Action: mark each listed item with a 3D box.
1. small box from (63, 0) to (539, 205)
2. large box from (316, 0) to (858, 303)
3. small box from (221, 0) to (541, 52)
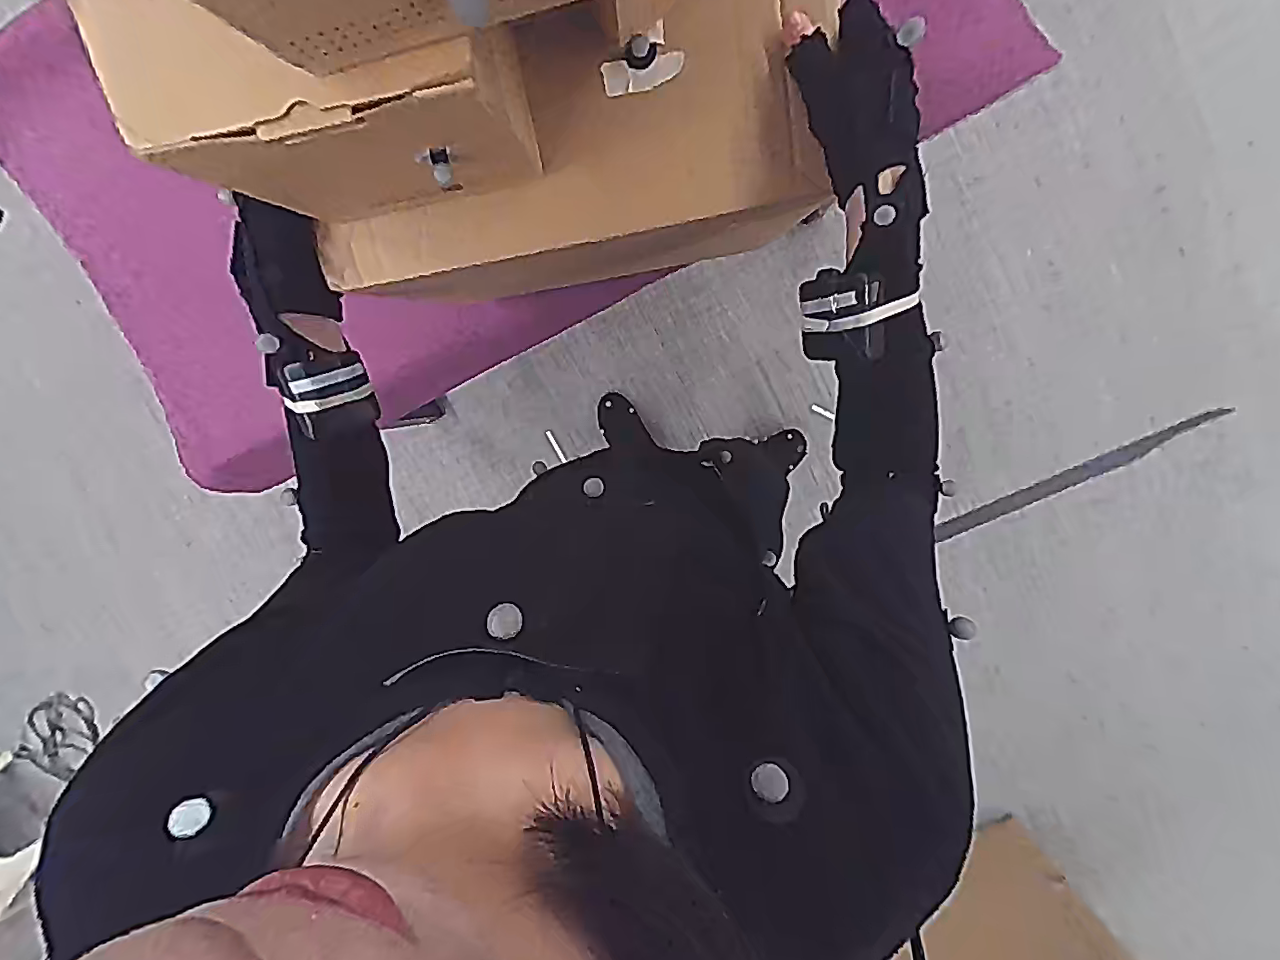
[{"bbox_3d":[-0.160,-0.262,0.288,0.168,0.176,0.179,-9,105,2],"label":"small box"},{"bbox_3d":[-0.063,-0.367,0.508,0.408,0.320,0.320,-10,107,3],"label":"large box"},{"bbox_3d":[-0.077,-0.242,0.120,0.179,0.176,0.168,-11,106,5],"label":"small box"}]
